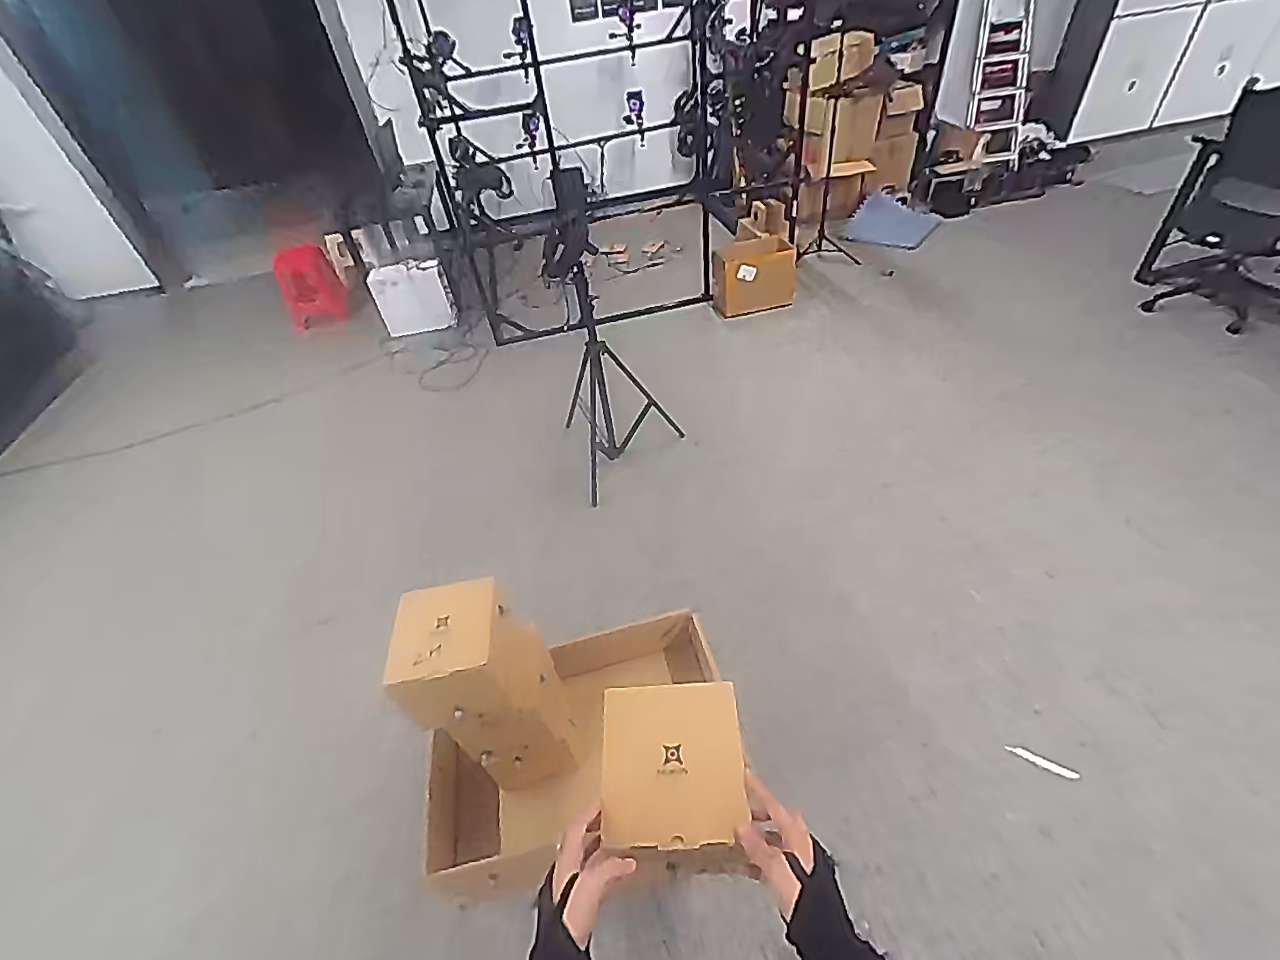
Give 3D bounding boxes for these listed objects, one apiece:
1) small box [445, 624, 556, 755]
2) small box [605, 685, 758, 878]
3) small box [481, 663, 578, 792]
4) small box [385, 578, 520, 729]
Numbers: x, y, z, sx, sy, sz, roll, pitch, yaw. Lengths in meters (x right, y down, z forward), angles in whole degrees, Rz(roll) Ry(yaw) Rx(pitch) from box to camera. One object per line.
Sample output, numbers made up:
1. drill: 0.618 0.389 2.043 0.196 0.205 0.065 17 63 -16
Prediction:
1. small box: -0.263 0.413 1.053 0.168 0.176 0.179 -11 42 -3
2. small box: 0.049 0.382 0.685 0.168 0.176 0.179 -5 46 3
3. small box: -0.239 0.532 1.164 0.168 0.176 0.179 -16 43 -7
4. small box: -0.311 0.301 0.938 0.168 0.176 0.179 -11 43 -1
